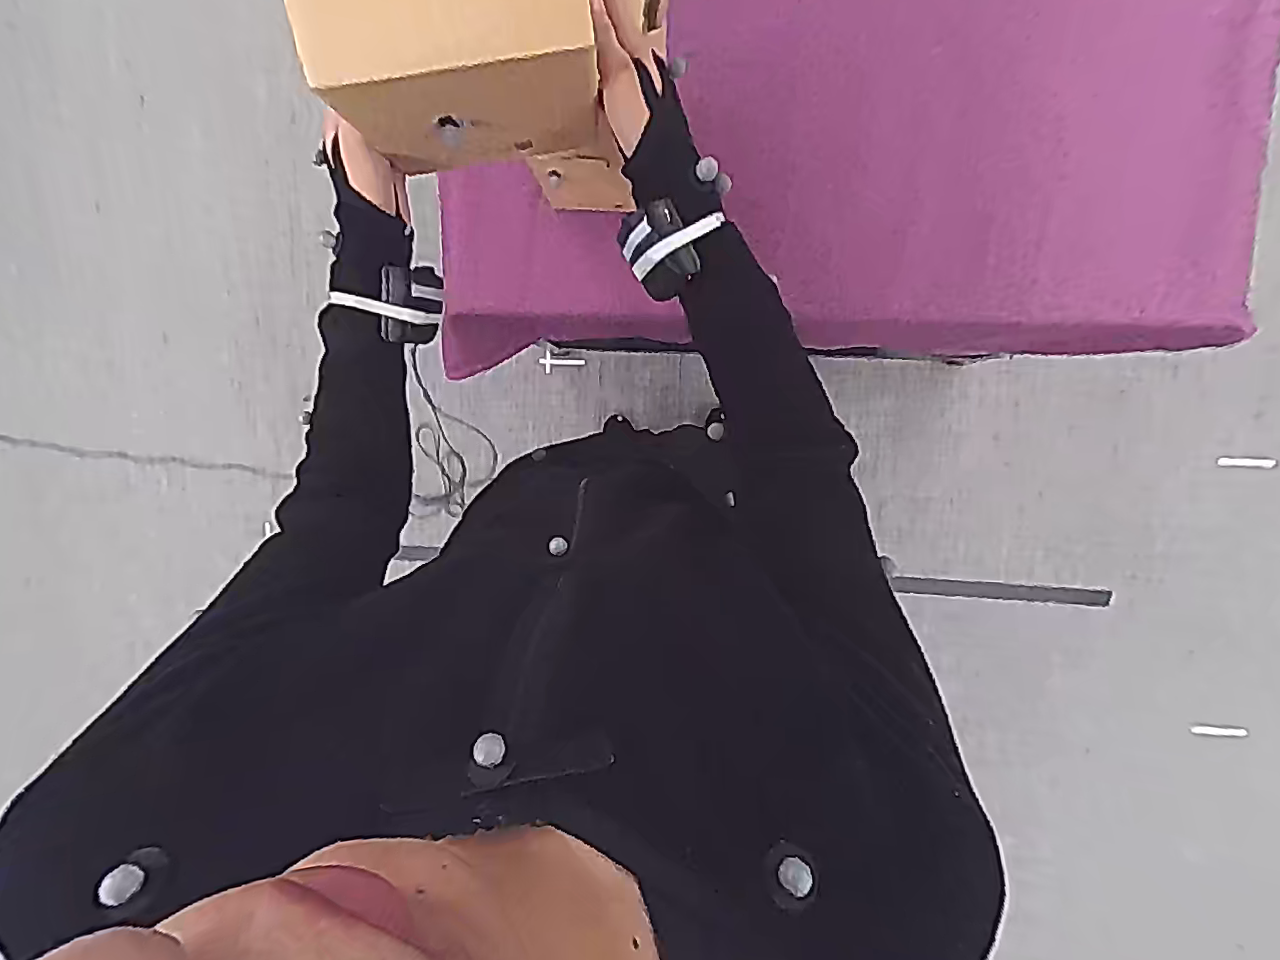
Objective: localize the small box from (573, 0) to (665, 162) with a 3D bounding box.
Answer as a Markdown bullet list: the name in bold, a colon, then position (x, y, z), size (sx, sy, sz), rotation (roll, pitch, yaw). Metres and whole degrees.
- **small box**: position (-0.072, -0.473, 0.582), size (0.179, 0.176, 0.168), rotation (10, 97, 1)

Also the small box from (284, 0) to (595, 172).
- **small box**: position (-0.126, -0.331, 0.367), size (0.168, 0.176, 0.179), rotation (-11, 104, -1)
